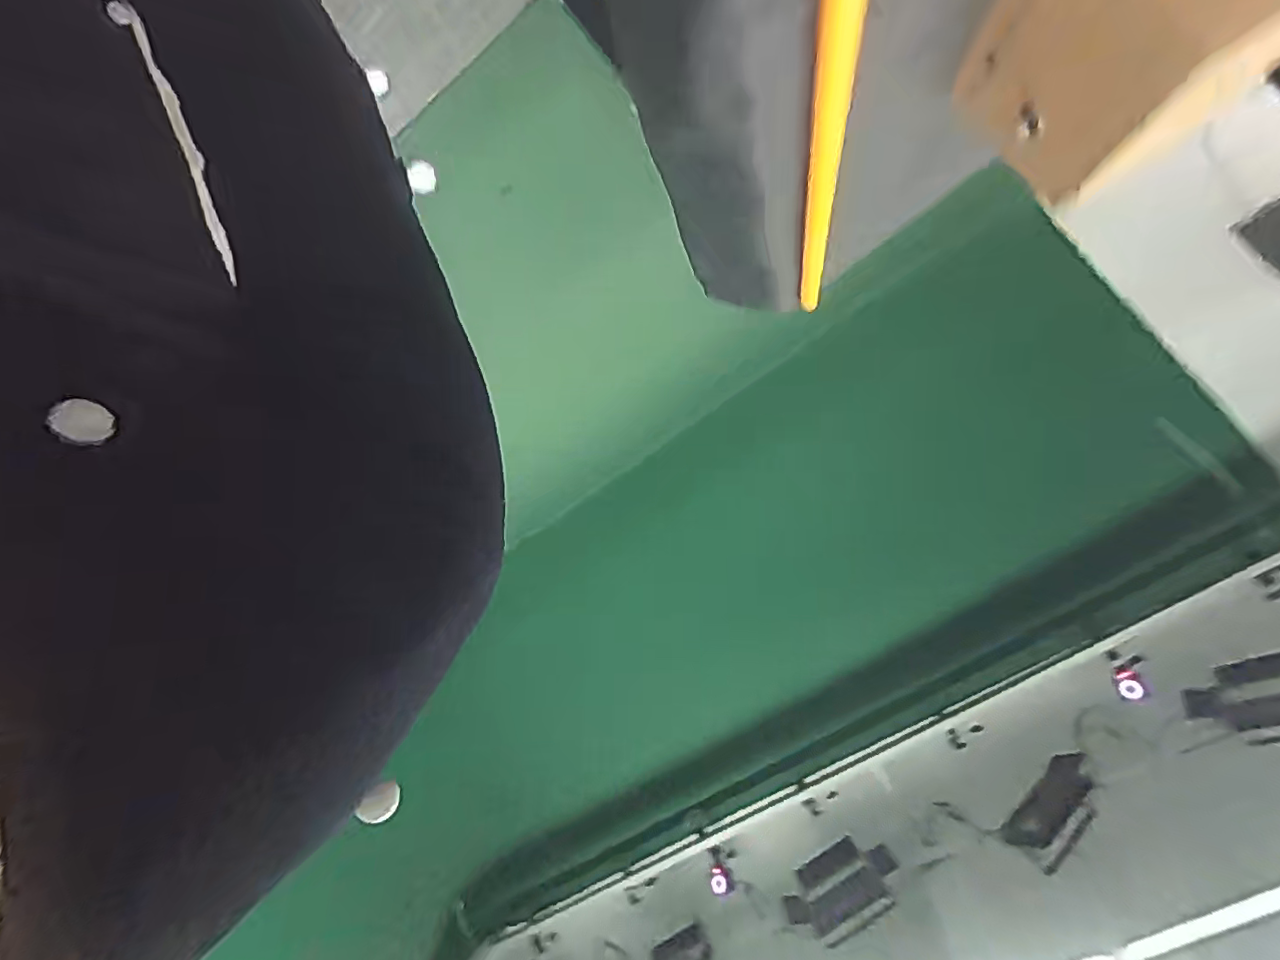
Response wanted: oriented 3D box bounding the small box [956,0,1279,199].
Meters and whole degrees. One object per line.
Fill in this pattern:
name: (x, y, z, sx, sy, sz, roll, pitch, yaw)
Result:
small box: (0.403, -0.383, 0.435, 0.179, 0.176, 0.168, -35, 170, 3)
